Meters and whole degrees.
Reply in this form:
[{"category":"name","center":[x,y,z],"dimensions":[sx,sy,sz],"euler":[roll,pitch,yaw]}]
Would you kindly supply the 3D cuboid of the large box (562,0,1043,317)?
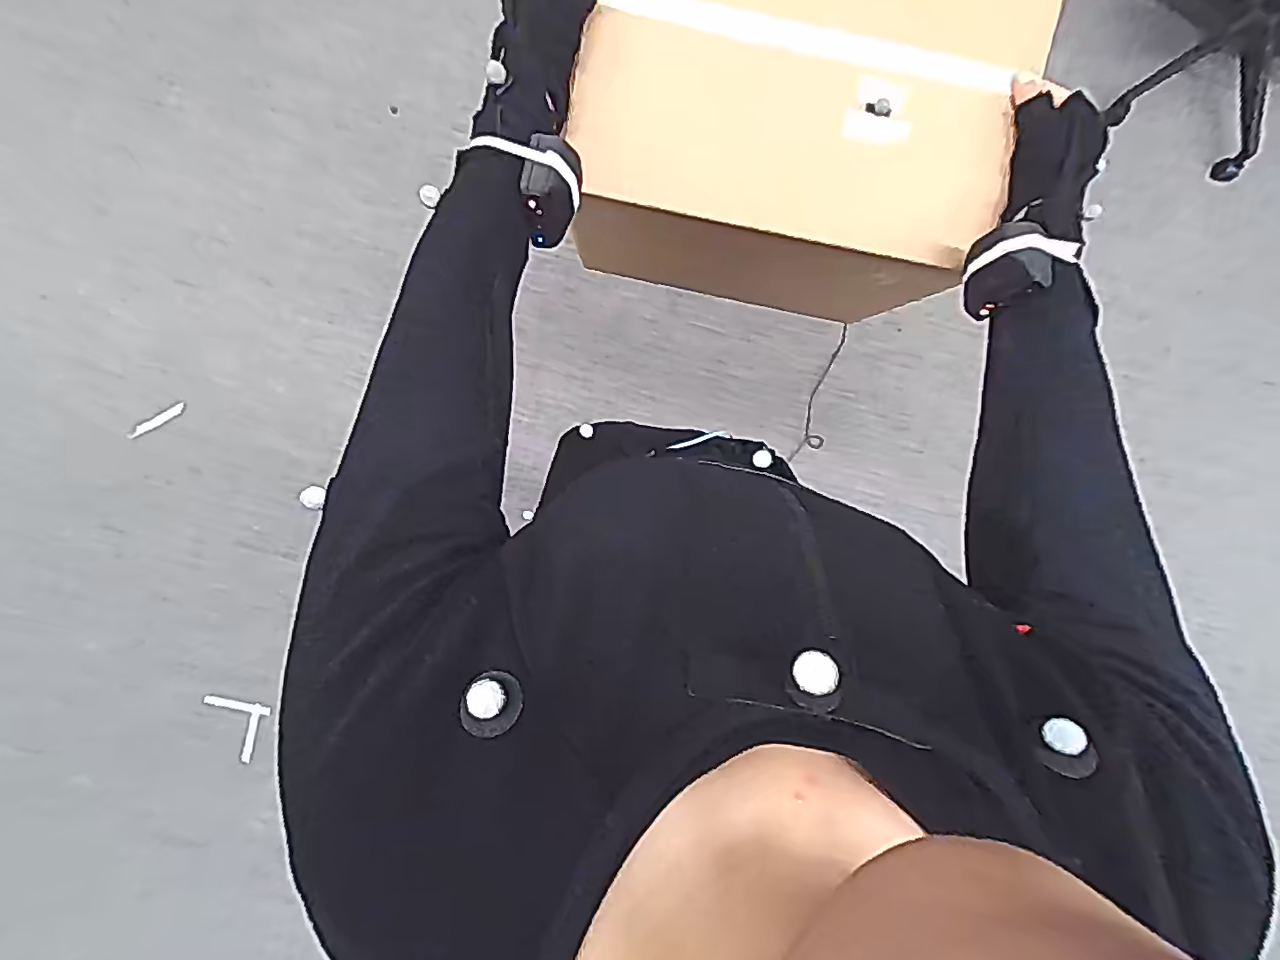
[{"category":"large box","center":[0.142,-0.400,0.627],"dimensions":[0.408,0.320,0.320],"euler":[10,98,-3]}]
